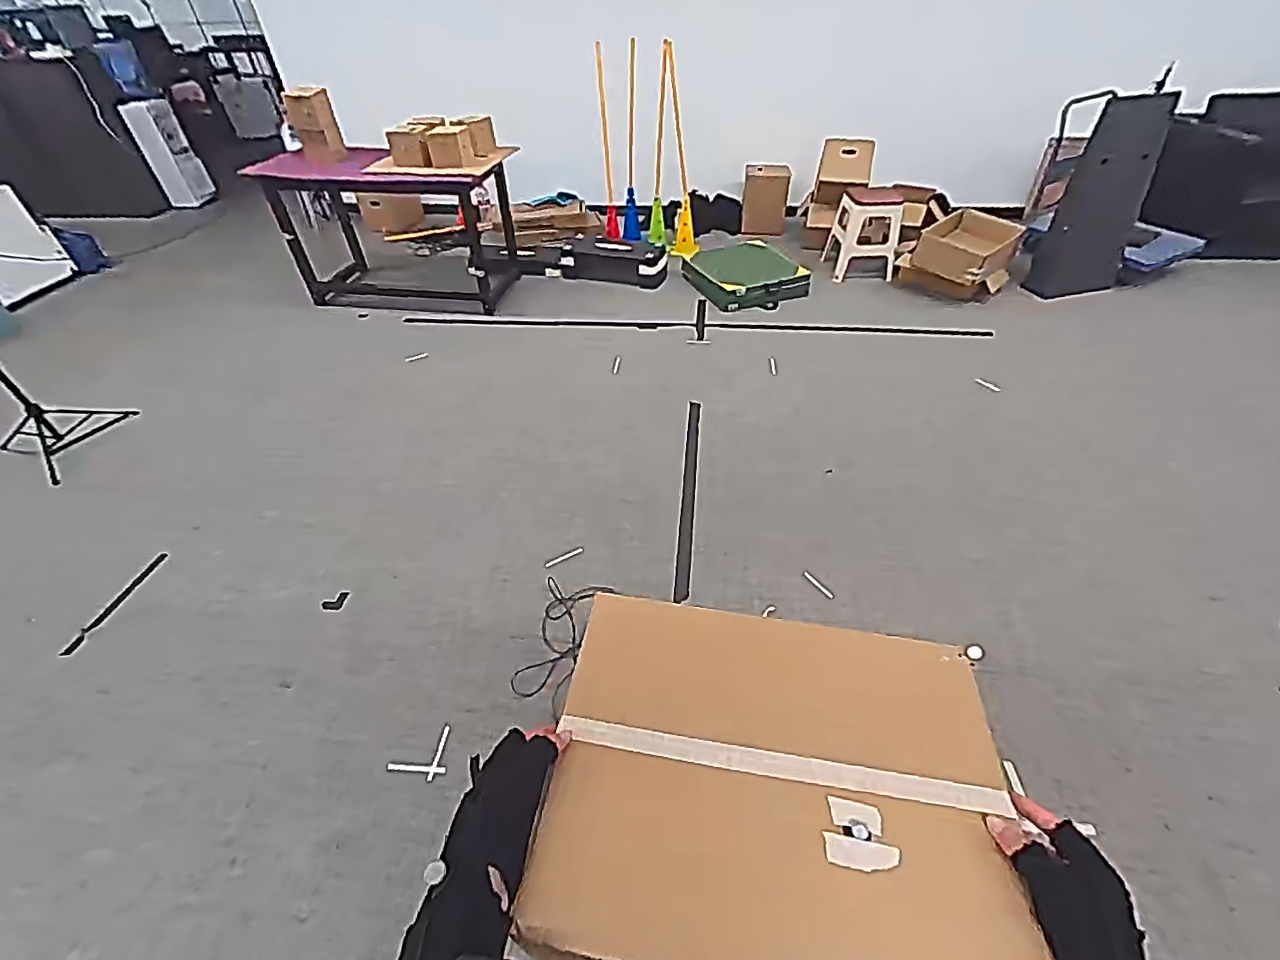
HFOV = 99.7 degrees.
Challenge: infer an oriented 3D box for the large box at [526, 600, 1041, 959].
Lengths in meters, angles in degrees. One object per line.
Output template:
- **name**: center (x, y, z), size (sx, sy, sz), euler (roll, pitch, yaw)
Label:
- **large box**: center (0.123, 0.374, 0.612), size (0.408, 0.320, 0.320), euler (7, 45, 7)
